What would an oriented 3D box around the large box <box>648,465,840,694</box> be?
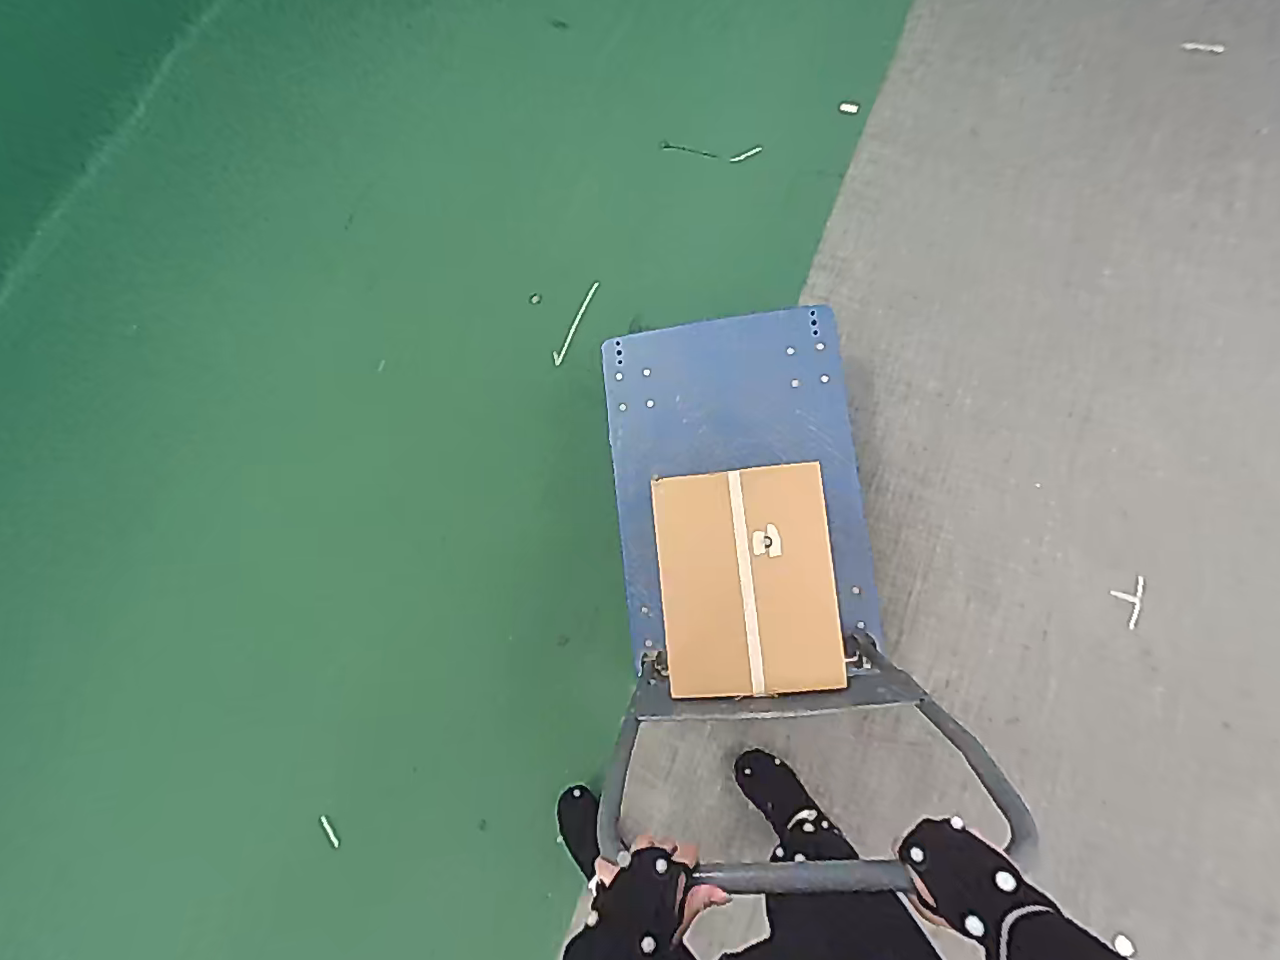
[{"bbox_3d":[0.209,0.201,1.152,0.320,0.320,0.408,-6,83,7],"label":"large box"}]
